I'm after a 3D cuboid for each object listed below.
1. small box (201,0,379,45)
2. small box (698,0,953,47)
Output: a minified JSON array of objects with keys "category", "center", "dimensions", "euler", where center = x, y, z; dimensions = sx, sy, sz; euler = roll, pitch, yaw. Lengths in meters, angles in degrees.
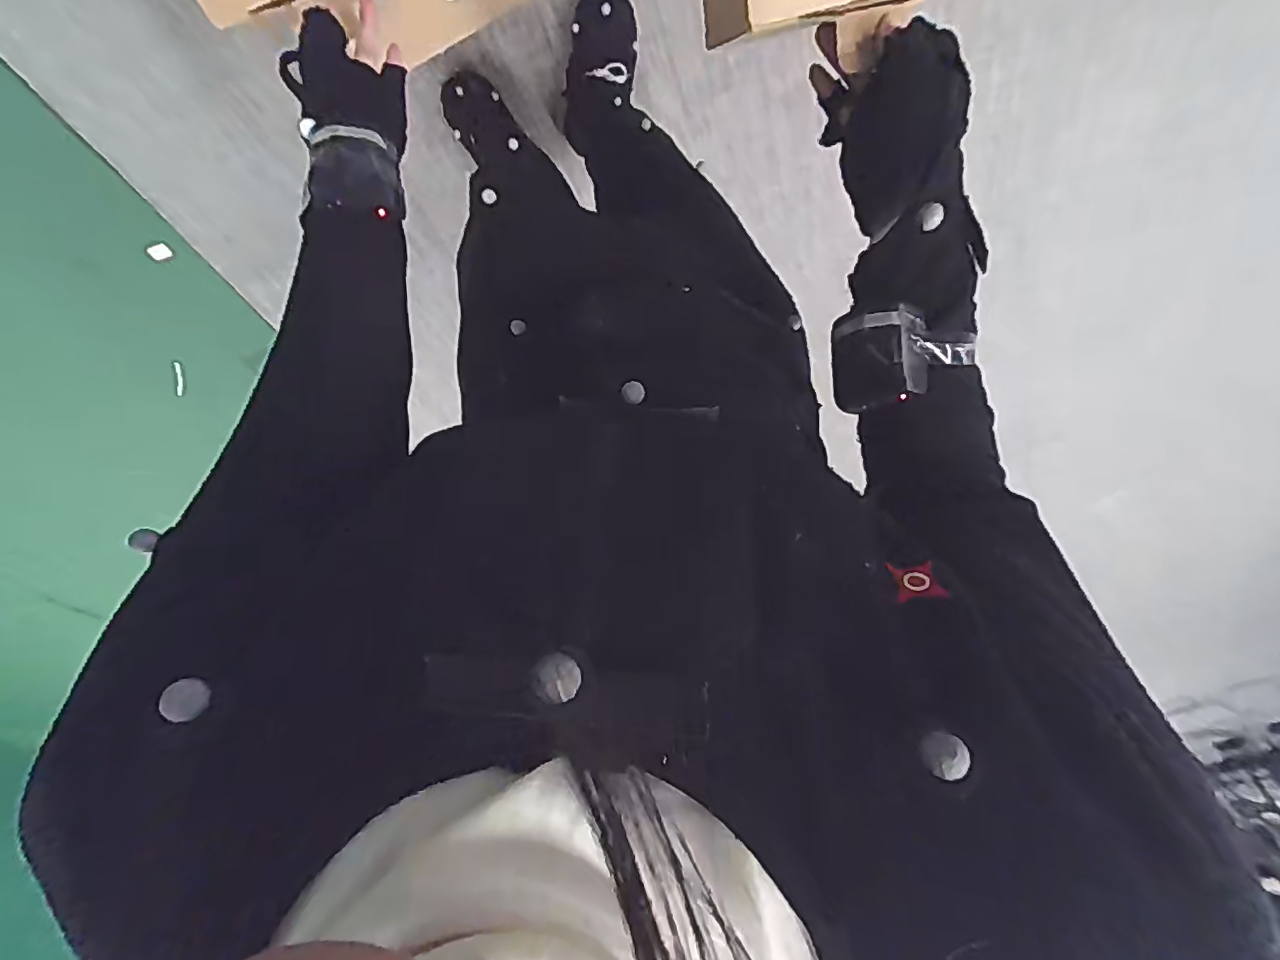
[{"category":"small box","center":[-0.288,-0.491,0.434],"dimensions":[0.168,0.176,0.179],"euler":[-16,130,10]},{"category":"small box","center":[0.123,-0.407,0.354],"dimensions":[0.168,0.176,0.179],"euler":[-10,125,4]}]
